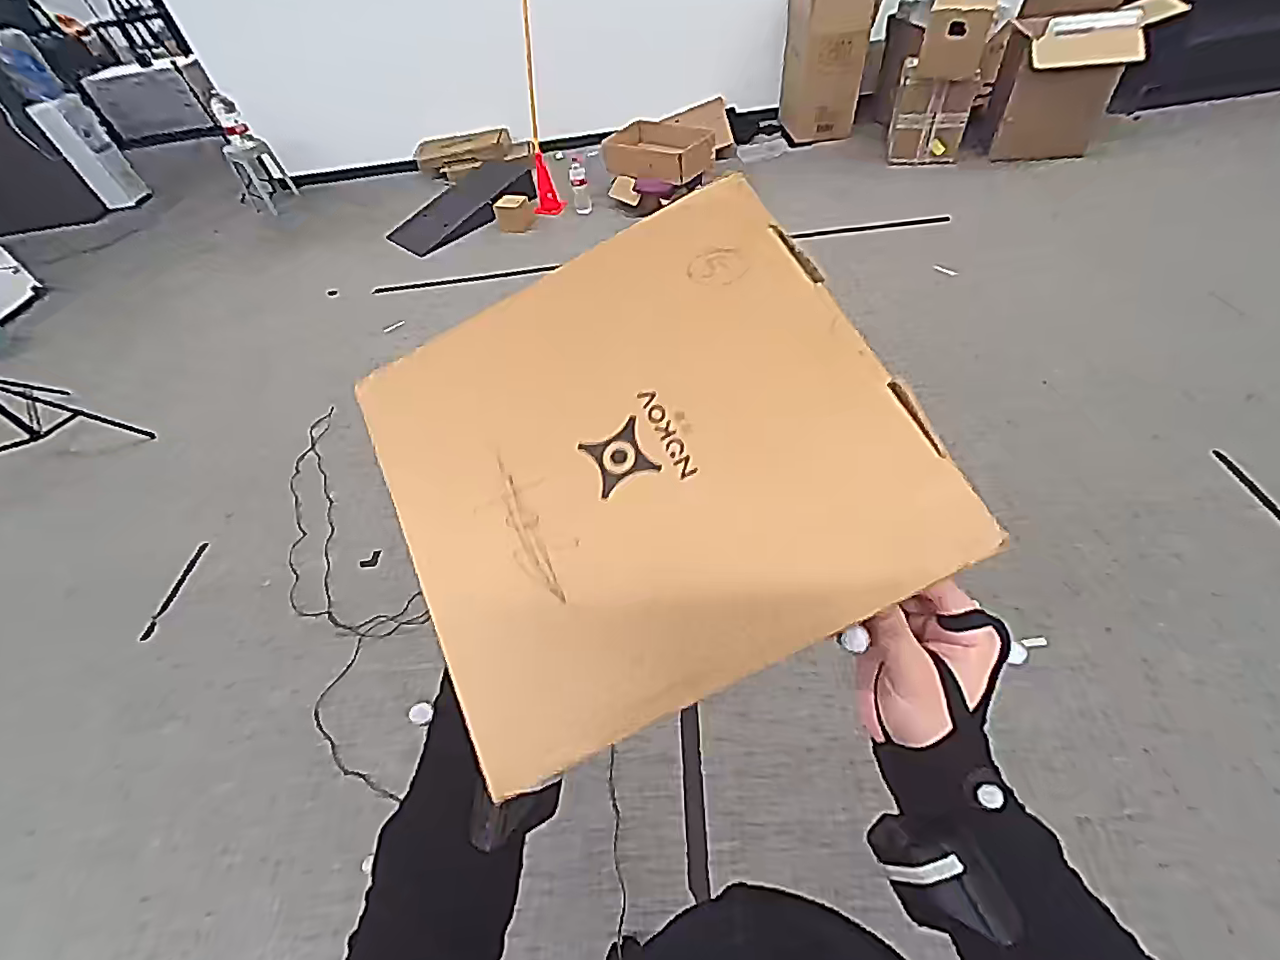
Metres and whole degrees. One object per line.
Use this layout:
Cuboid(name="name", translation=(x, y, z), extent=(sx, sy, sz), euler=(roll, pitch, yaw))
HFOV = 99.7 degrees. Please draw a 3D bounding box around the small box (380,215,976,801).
Cuboid(name="small box", translation=(0.015, 0.019, 0.276), extent=(0.179, 0.176, 0.168), euler=(-30, 71, 5))
